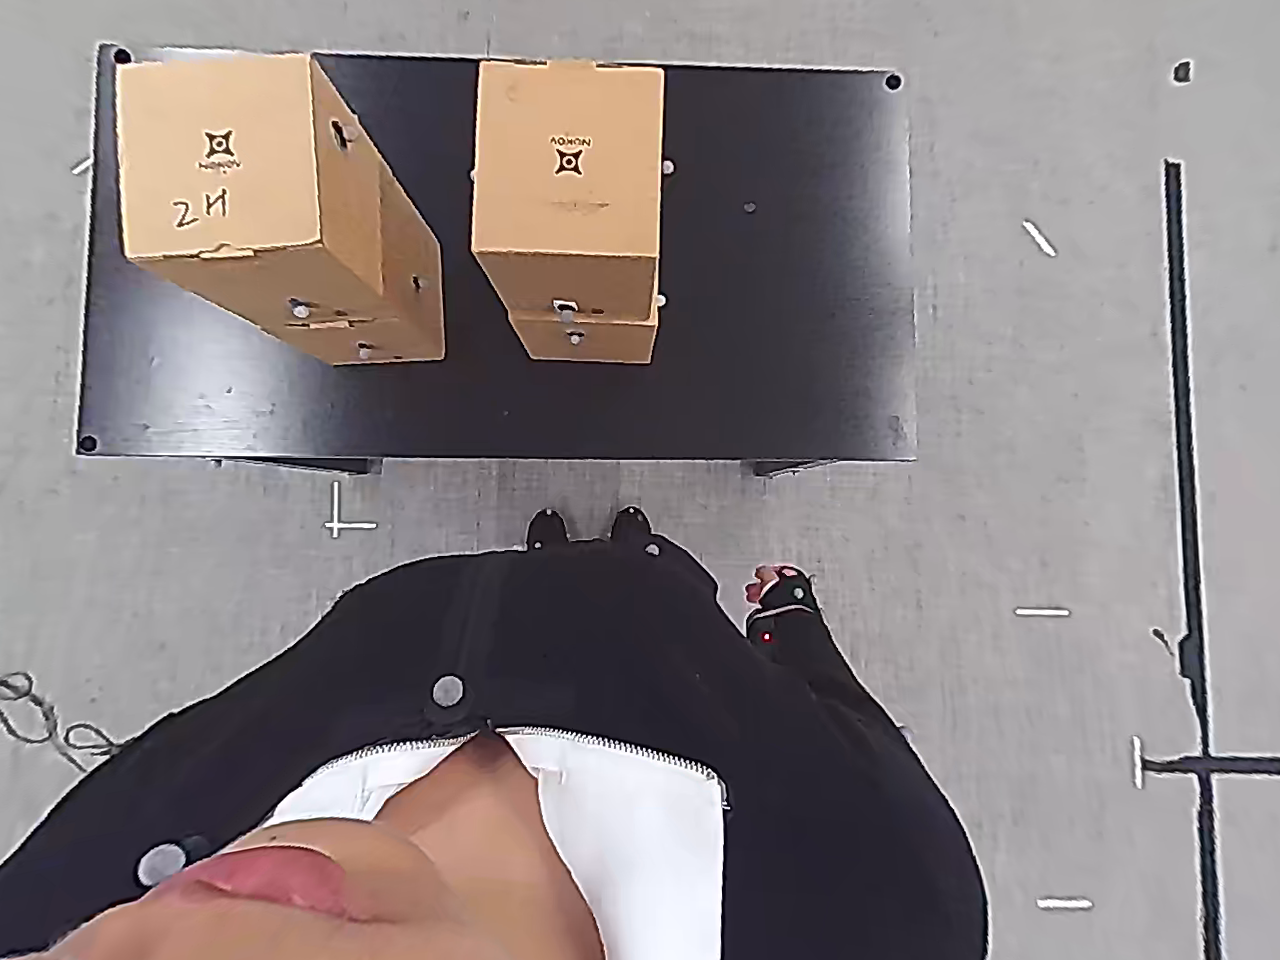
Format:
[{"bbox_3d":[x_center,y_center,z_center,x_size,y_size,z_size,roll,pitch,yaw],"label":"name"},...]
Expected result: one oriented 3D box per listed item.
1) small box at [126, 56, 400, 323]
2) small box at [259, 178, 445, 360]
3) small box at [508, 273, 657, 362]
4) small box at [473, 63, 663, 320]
[{"bbox_3d":[-0.361,-0.277,0.548,0.168,0.176,0.179,-5,87,-2],"label":"small box"},{"bbox_3d":[-0.367,-0.263,0.713,0.168,0.176,0.179,-3,87,-1],"label":"small box"},{"bbox_3d":[-0.068,-0.262,0.722,0.179,0.176,0.168,2,86,-2],"label":"small box"},{"bbox_3d":[-0.065,-0.281,0.561,0.168,0.176,0.179,1,87,0],"label":"small box"}]
